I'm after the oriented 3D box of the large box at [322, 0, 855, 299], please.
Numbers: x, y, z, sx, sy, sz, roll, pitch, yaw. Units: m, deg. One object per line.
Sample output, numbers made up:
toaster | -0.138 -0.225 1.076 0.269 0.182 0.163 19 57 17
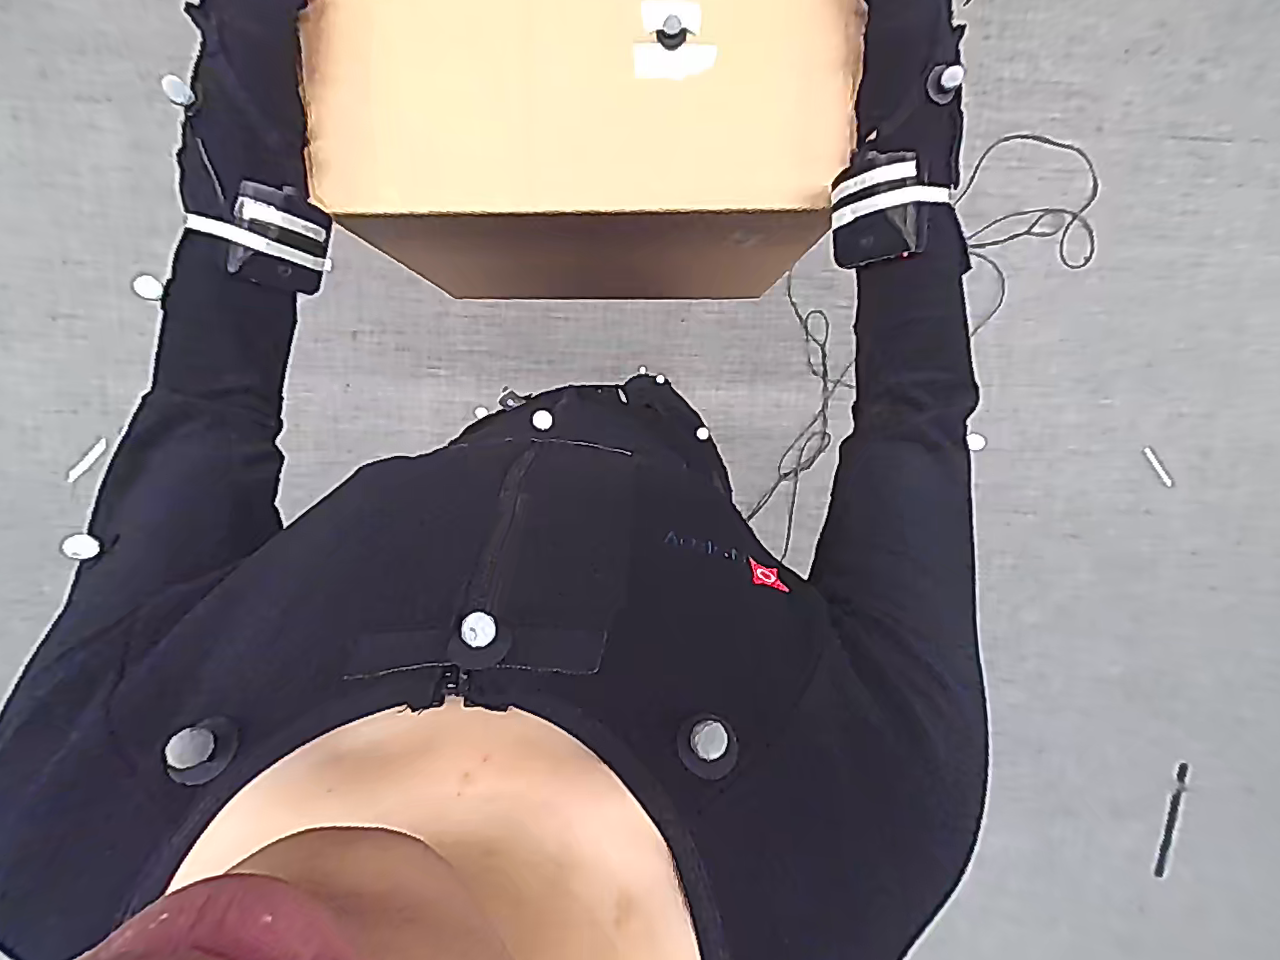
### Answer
large box | -0.040 -0.380 0.548 0.408 0.320 0.320 -1 97 0
